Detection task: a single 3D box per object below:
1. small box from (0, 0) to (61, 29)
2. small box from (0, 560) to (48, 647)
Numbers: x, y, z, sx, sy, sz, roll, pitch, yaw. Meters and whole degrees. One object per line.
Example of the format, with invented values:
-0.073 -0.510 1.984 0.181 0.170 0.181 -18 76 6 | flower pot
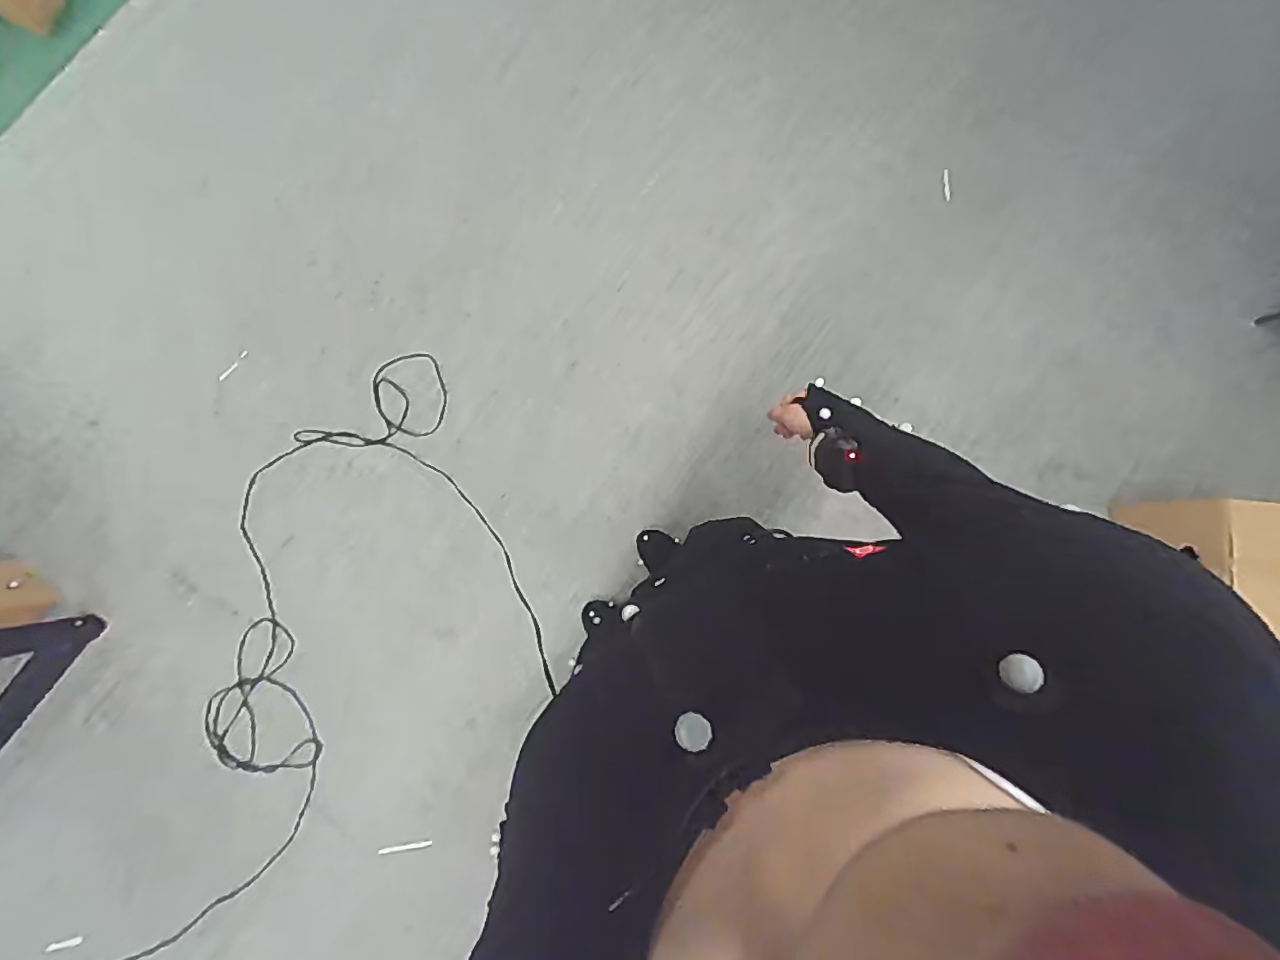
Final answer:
-1.805 -1.440 1.527 0.168 0.176 0.179 21 83 1 | small box
-1.671 0.318 1.357 0.168 0.176 0.179 41 85 2 | small box
